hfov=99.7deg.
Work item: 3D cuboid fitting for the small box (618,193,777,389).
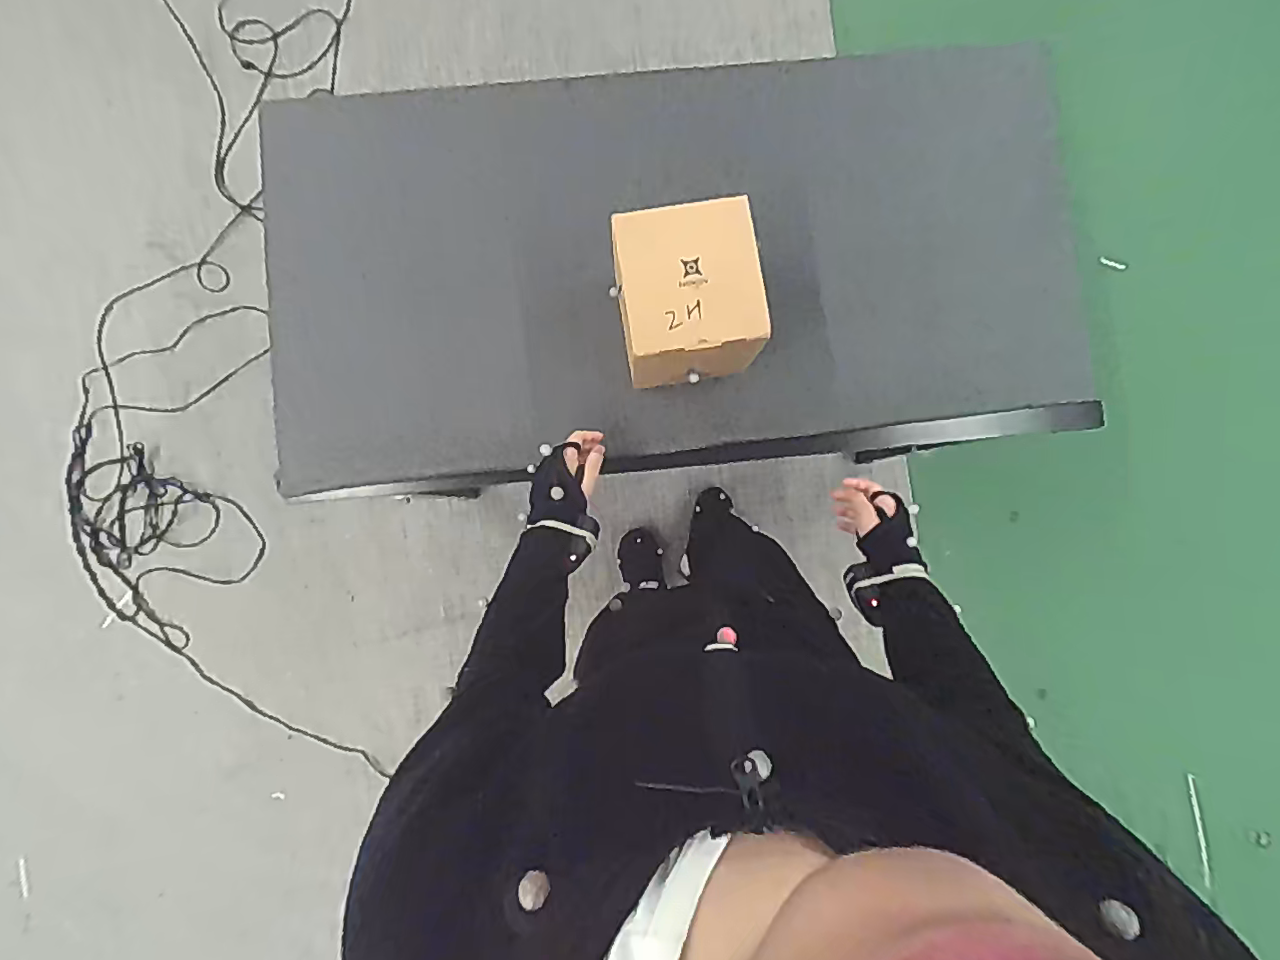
[{"bbox_3d":[0.063,-0.232,0.702,0.168,0.176,0.179,-9,86,-1],"label":"small box"}]
